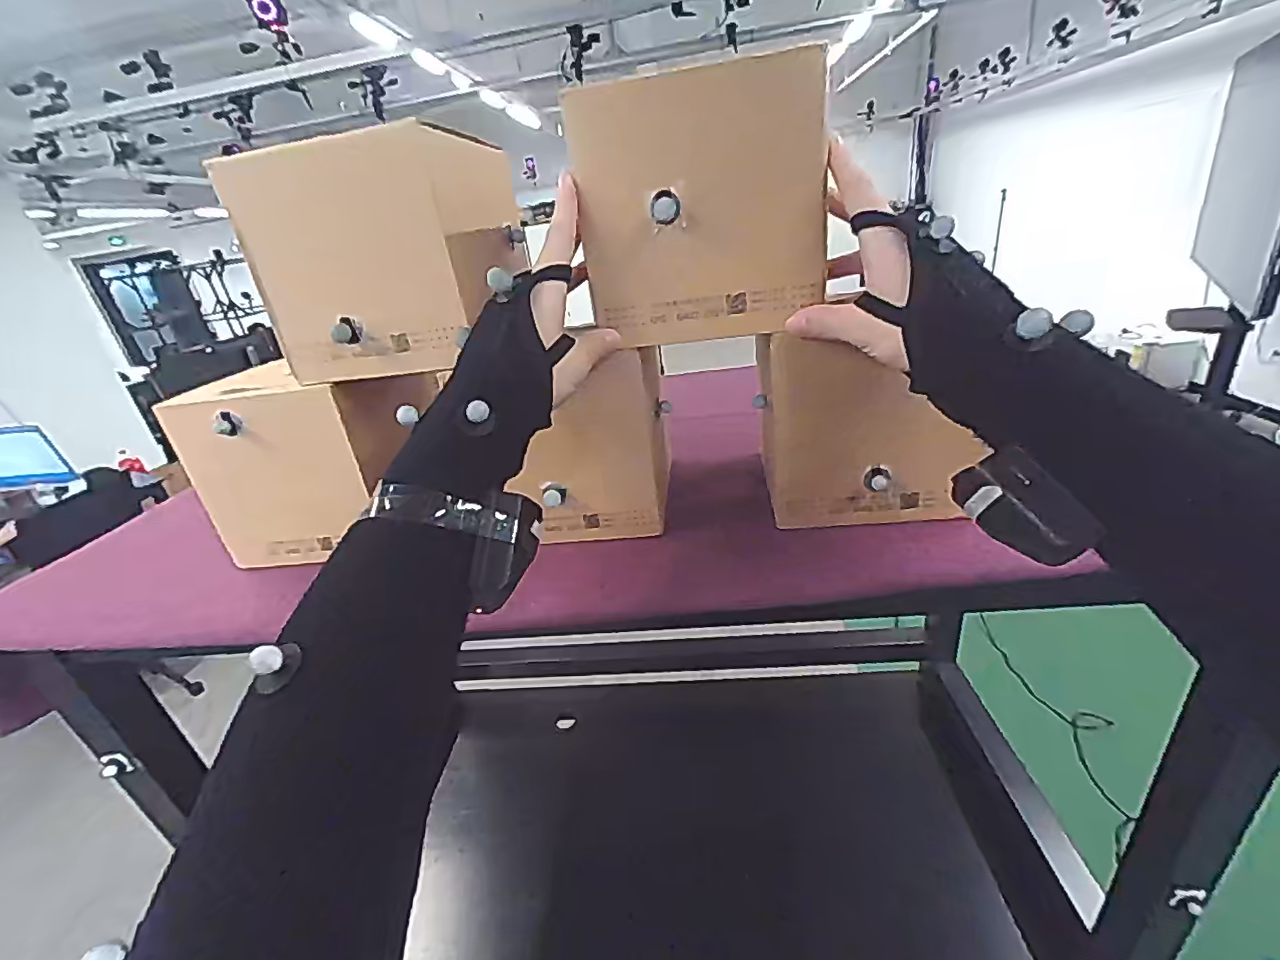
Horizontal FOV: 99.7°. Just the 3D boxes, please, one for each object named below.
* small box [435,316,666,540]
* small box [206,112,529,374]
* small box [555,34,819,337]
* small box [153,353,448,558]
[{"bbox_3d":[-0.067,-0.058,0.524,0.168,0.176,0.179,-5,25,8],"label":"small box"},{"bbox_3d":[-0.208,-0.197,0.475,0.168,0.176,0.179,-4,25,10],"label":"small box"},{"bbox_3d":[0.046,-0.214,0.434,0.168,0.176,0.179,-4,25,9],"label":"small box"},{"bbox_3d":[-0.317,-0.038,0.554,0.168,0.176,0.179,-6,24,8],"label":"small box"}]
